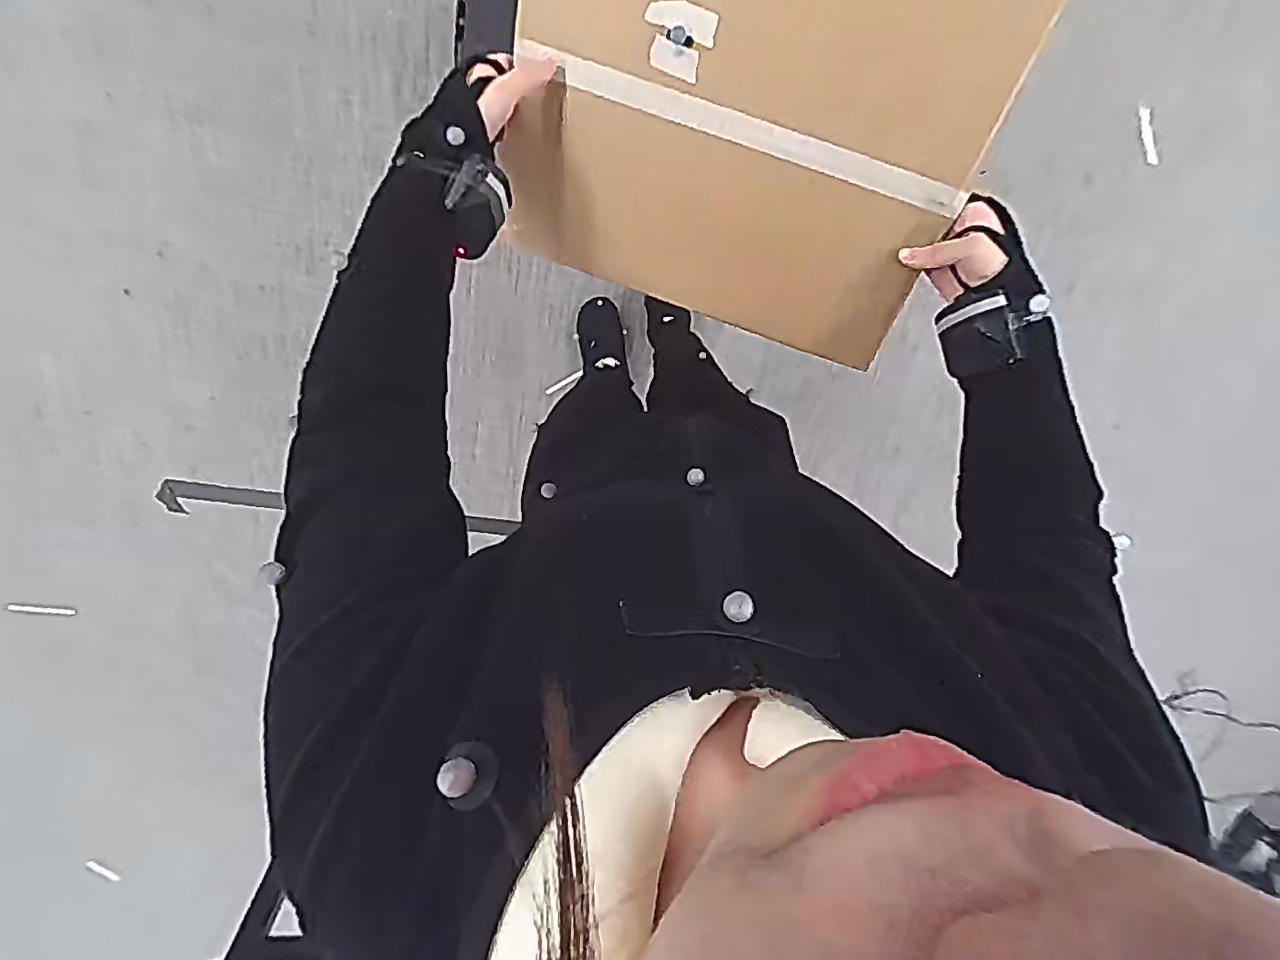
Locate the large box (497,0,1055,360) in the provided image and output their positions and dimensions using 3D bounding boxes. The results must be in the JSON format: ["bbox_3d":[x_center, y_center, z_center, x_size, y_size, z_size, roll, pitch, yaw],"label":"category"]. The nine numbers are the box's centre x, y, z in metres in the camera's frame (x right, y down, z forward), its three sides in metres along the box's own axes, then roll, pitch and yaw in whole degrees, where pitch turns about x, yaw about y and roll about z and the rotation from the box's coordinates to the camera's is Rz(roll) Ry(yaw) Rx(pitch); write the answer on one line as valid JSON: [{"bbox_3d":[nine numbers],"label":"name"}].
[{"bbox_3d":[0.110,-0.376,0.593,0.408,0.320,0.320,20,120,1],"label":"large box"}]
